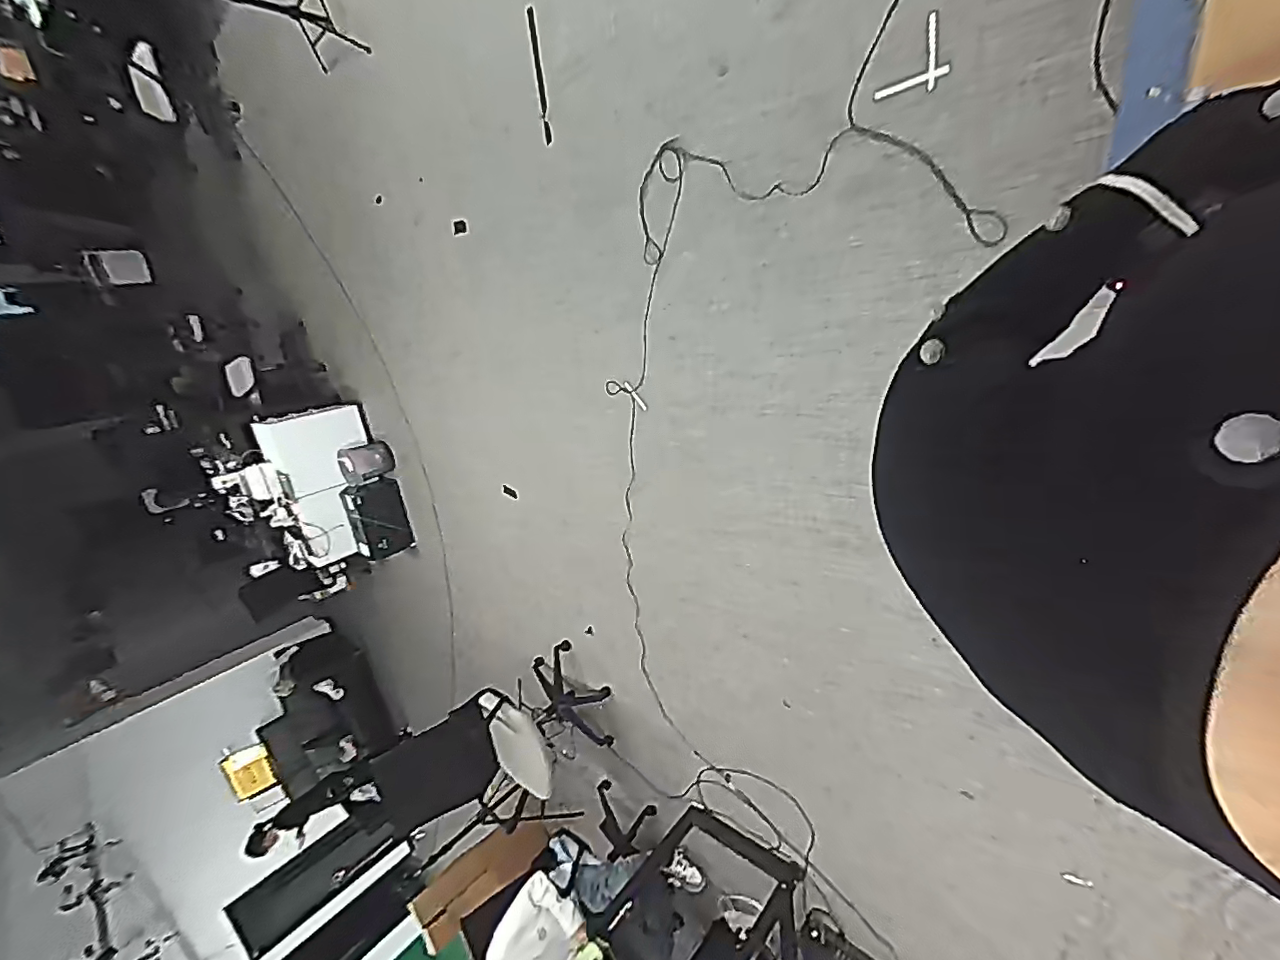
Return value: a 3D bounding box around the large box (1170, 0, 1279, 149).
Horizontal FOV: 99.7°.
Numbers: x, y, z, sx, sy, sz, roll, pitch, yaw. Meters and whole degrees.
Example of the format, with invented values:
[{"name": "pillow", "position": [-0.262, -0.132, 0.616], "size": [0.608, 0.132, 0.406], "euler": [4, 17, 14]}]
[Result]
[{"name": "large box", "position": [0.876, -0.594, 0.581], "size": [0.408, 0.320, 0.320], "euler": [10, 116, 40]}]
